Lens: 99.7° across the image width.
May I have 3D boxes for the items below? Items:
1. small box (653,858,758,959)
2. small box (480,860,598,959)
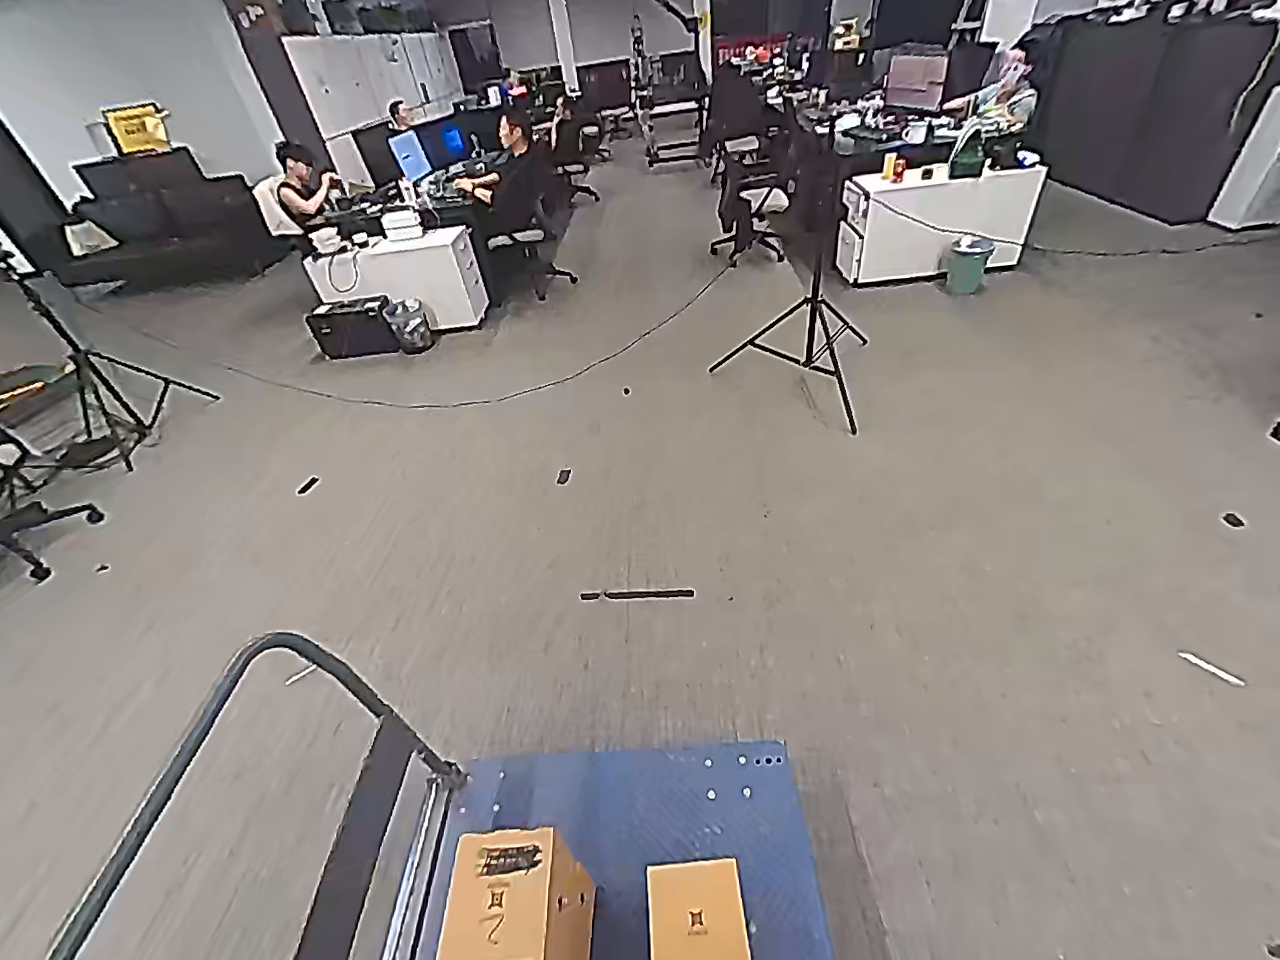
[{"bbox_3d":[0.115,0.812,0.969,0.168,0.176,0.179,-8,40,2],"label":"small box"},{"bbox_3d":[-0.177,0.832,0.998,0.168,0.176,0.179,-4,40,7],"label":"small box"}]
